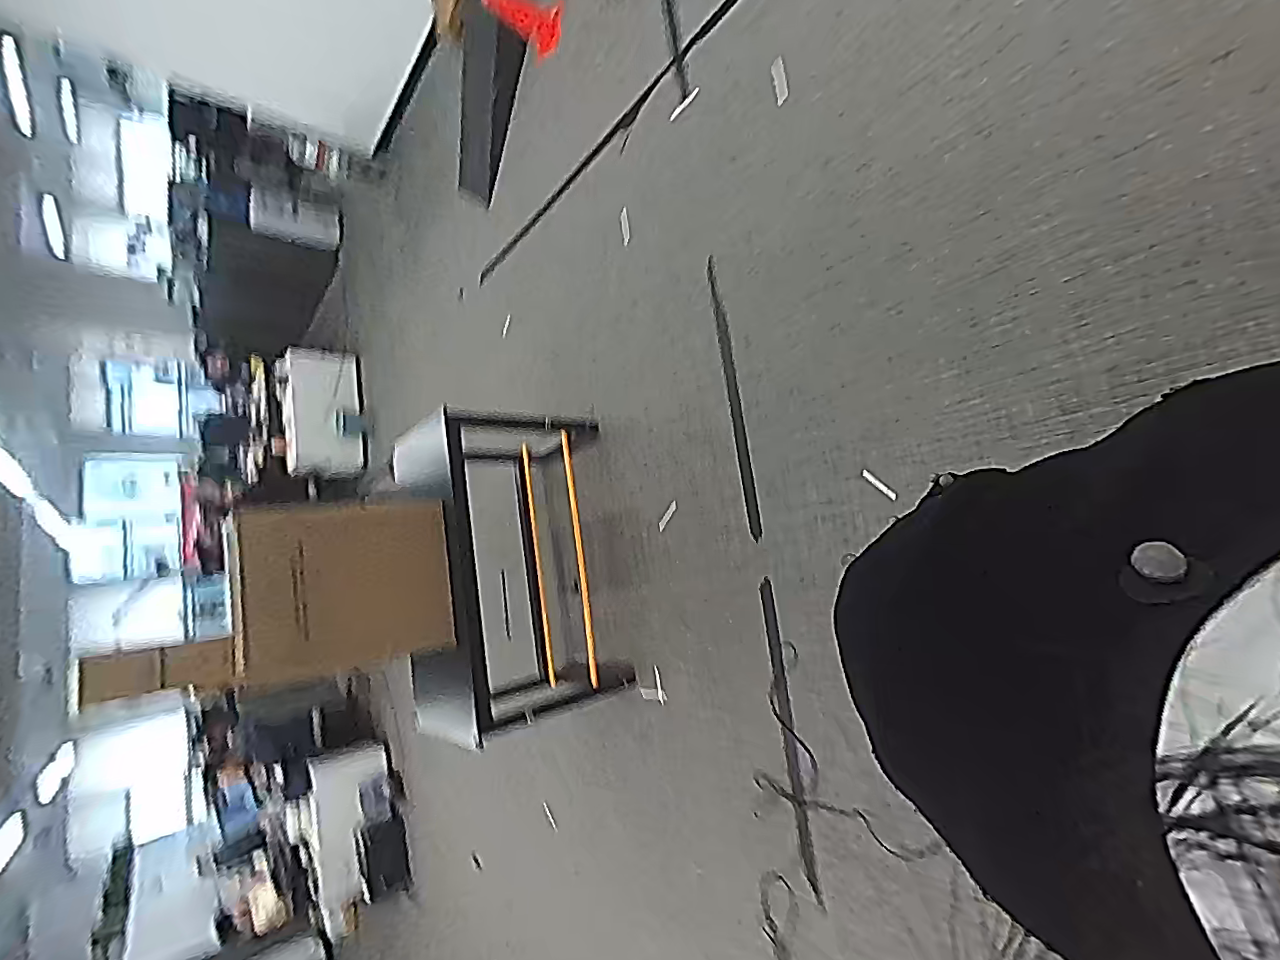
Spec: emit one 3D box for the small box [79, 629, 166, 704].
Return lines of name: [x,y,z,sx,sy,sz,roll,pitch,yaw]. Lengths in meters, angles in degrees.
small box: [-1.469,0.524,1.544,0.179,0.176,0.168,-15,79,48]

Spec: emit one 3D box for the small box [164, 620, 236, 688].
small box: [-1.355,0.529,1.665,0.179,0.176,0.168,-17,77,47]
